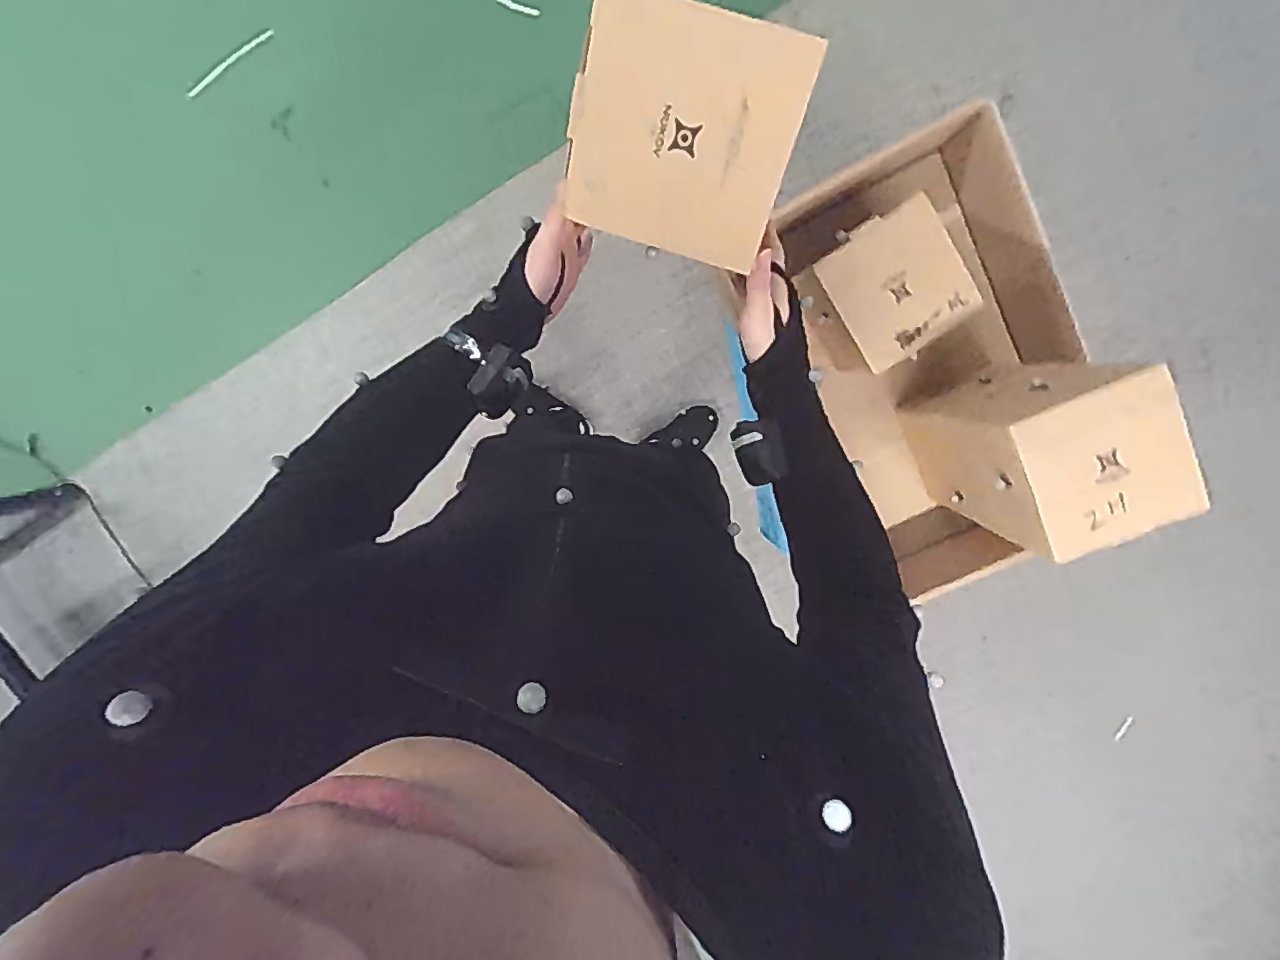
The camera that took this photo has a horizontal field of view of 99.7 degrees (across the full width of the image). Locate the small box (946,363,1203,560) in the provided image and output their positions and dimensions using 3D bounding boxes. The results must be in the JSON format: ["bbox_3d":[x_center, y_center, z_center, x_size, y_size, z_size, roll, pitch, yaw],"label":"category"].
[{"bbox_3d":[0.514,-0.031,0.667,0.168,0.176,0.179,-23,100,9],"label":"small box"}]

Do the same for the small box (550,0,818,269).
[{"bbox_3d":[0.038,-0.307,0.495,0.179,0.176,0.168,17,119,1],"label":"small box"}]
